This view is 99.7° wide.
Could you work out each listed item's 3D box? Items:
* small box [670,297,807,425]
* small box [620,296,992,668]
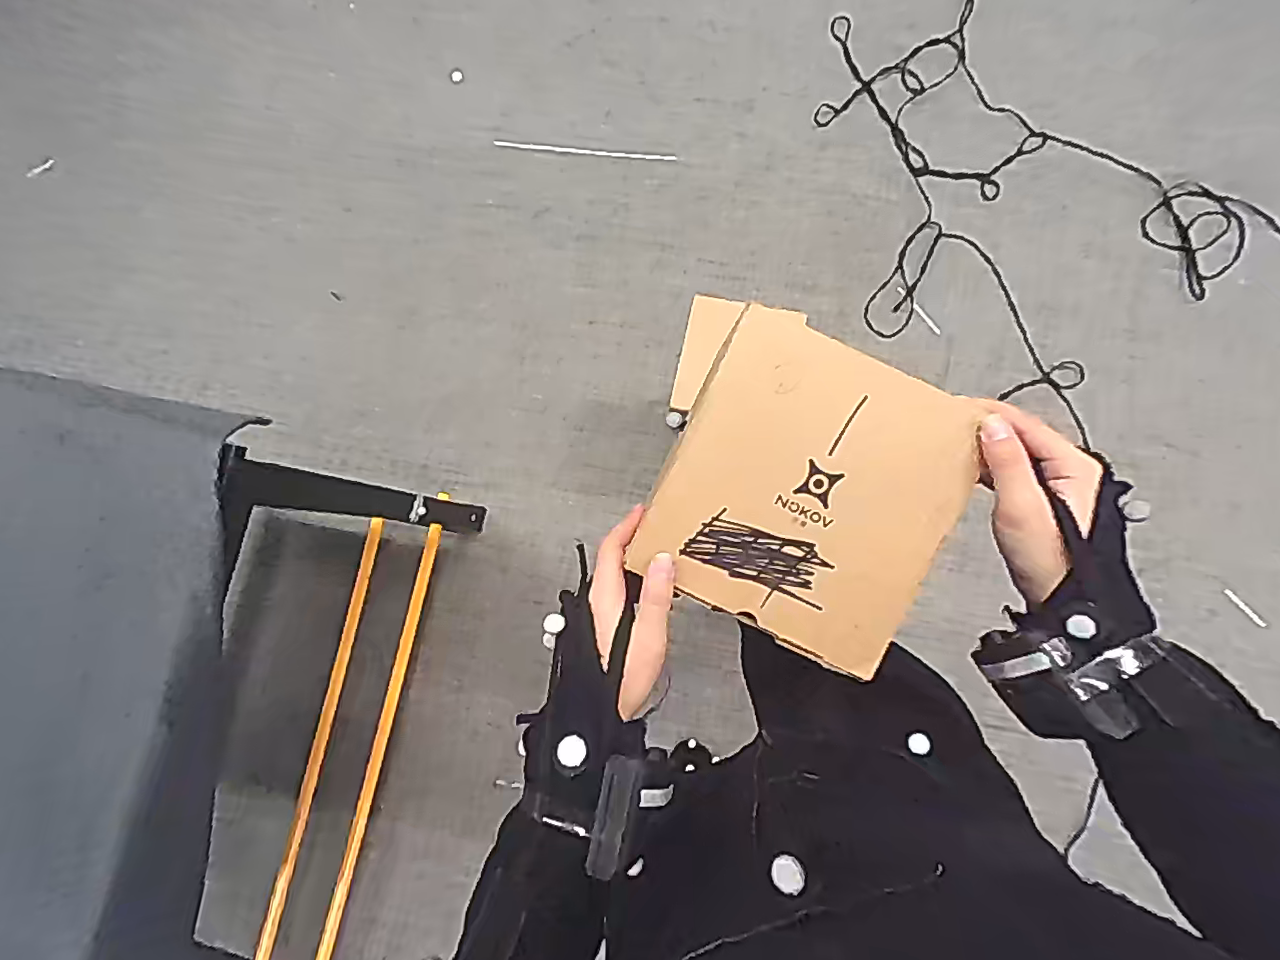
[{"bbox_3d":[0.146,-0.155,0.843,0.168,0.176,0.179,12,83,7],"label":"small box"},{"bbox_3d":[0.101,-0.002,0.401,0.168,0.176,0.179,25,95,1],"label":"small box"}]
